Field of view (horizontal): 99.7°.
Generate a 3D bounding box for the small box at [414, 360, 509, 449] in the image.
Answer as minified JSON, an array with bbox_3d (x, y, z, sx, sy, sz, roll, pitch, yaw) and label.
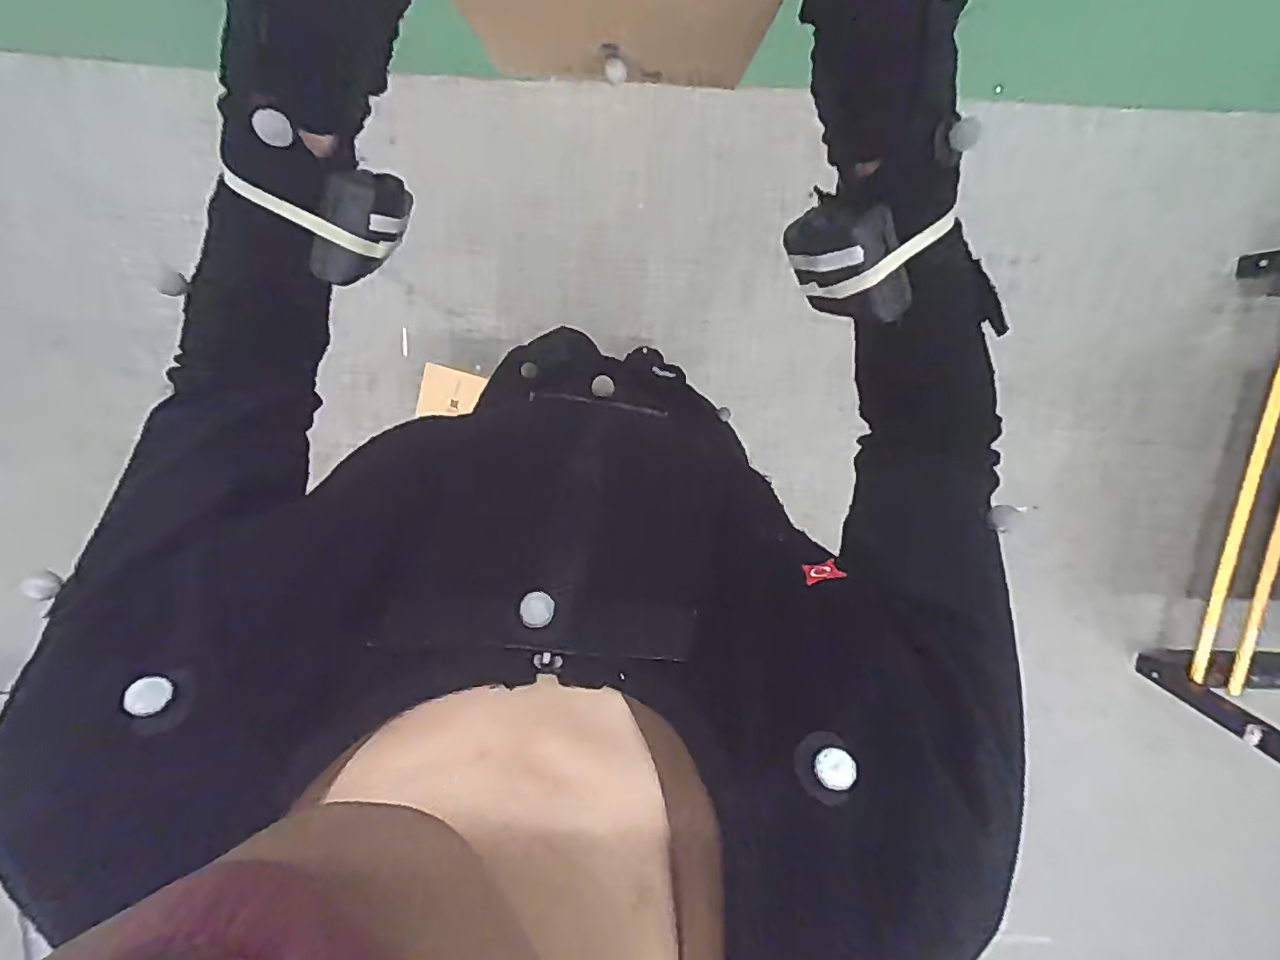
[{"bbox_3d":[-0.440,-0.193,1.354,0.168,0.176,0.179,16,101,-4],"label":"small box"}]
